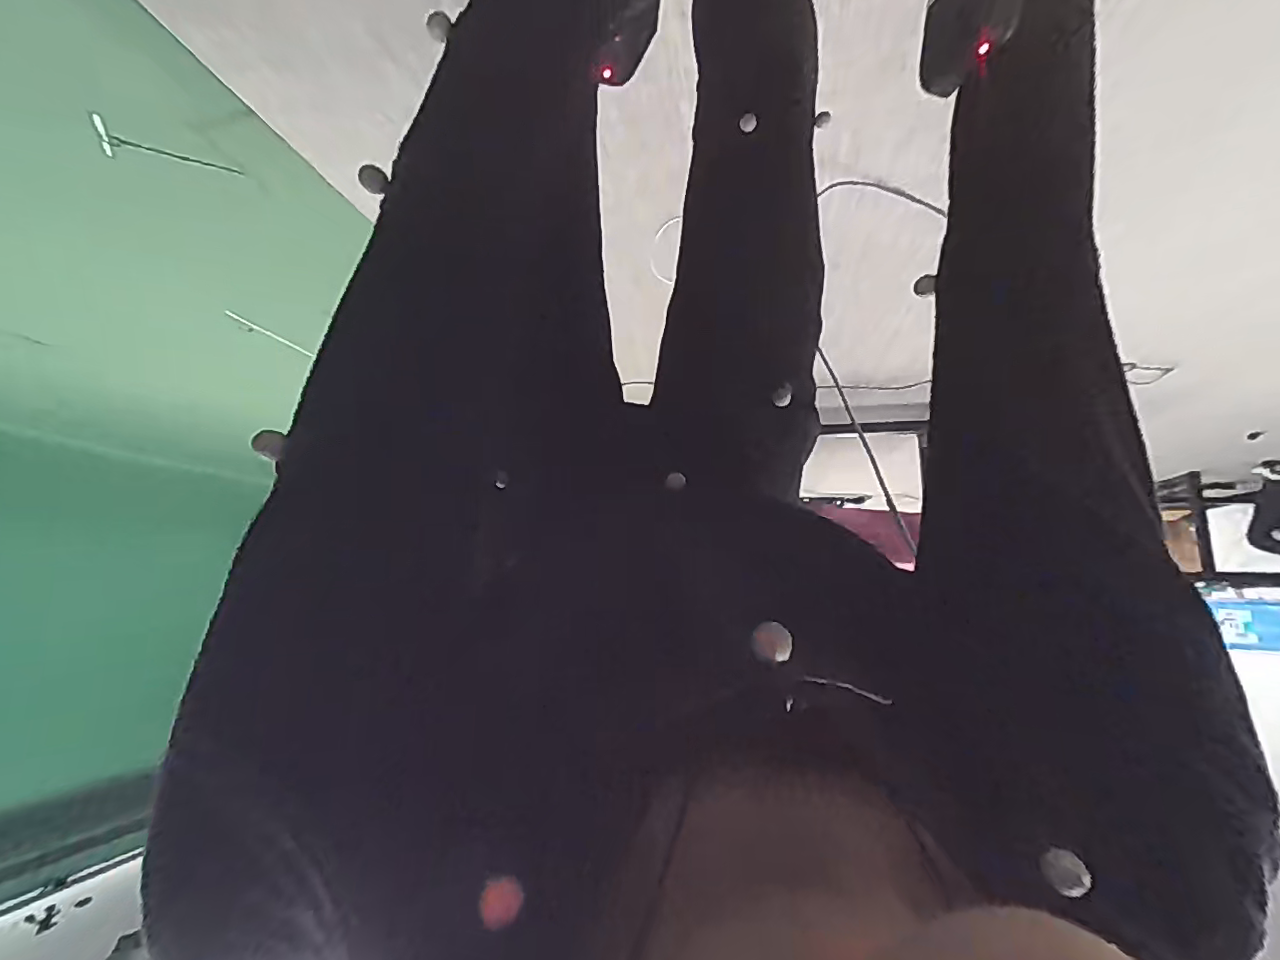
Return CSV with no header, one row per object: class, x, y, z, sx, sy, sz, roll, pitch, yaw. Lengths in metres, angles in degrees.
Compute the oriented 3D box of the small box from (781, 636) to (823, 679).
small box,0.755,0.828,2.536,0.179,0.176,0.168,-1,169,11
